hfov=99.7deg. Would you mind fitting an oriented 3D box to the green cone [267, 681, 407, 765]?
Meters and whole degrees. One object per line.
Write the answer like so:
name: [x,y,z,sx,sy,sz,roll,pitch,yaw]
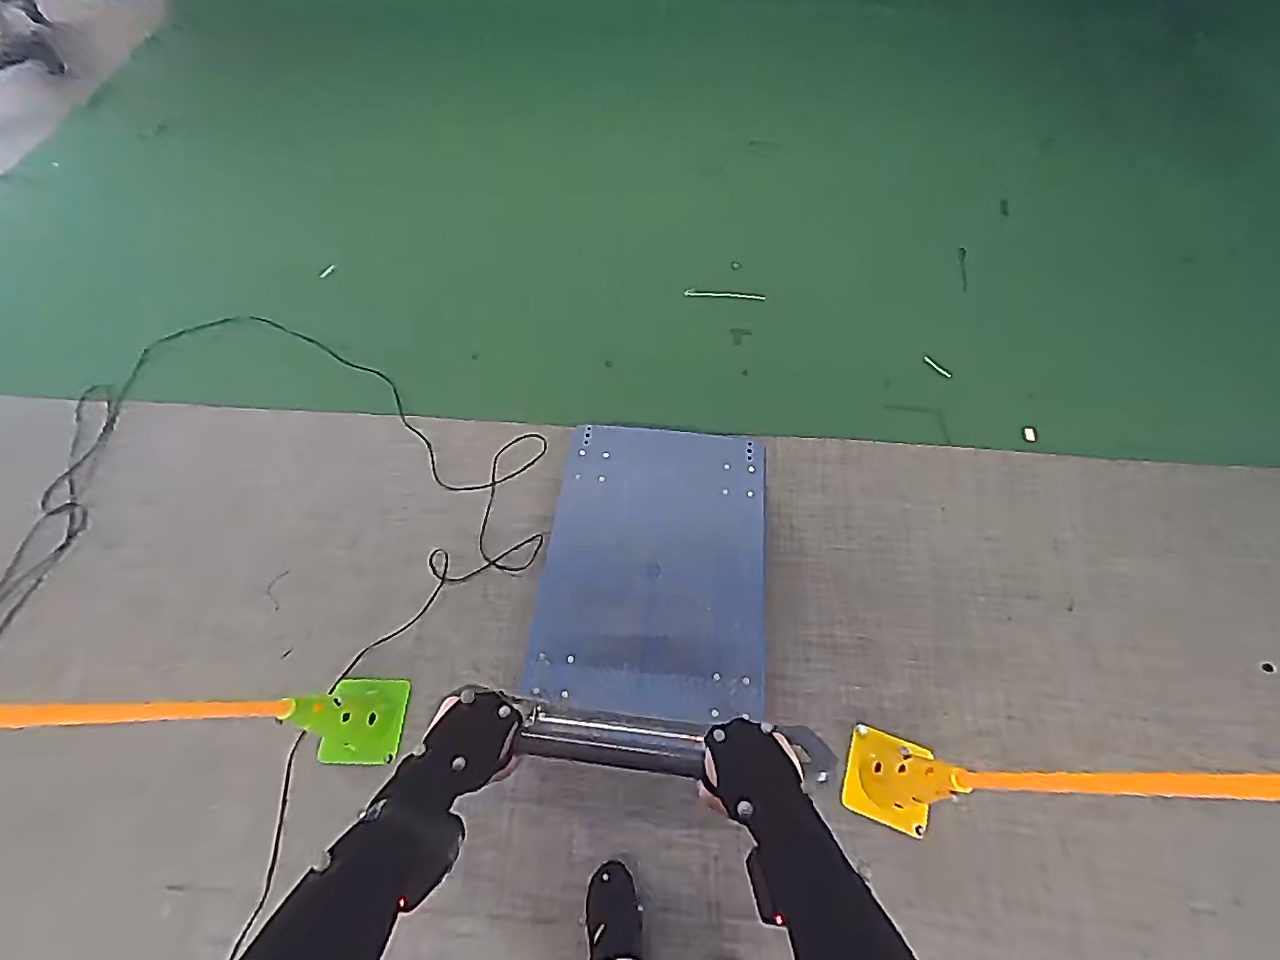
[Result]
green cone: [-0.722,0.543,1.247,0.202,0.368,0.200,-1,61,2]
